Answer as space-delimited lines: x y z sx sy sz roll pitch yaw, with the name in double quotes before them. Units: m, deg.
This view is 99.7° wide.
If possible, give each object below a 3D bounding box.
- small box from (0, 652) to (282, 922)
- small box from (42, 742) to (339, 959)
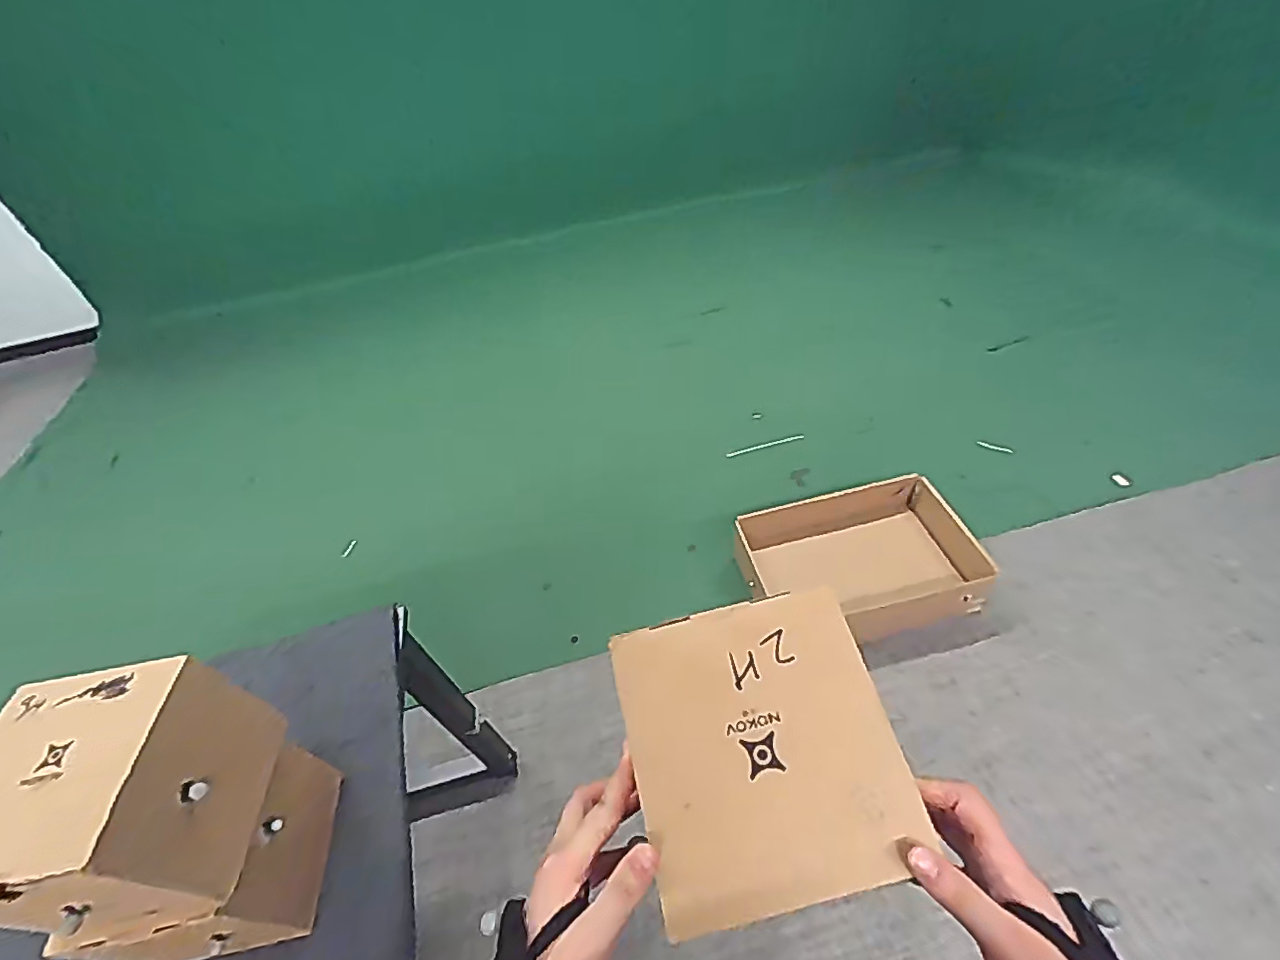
"small box" -0.478 0.288 0.502 0.168 0.176 0.179 -10 47 0
"small box" -0.473 0.413 0.611 0.168 0.176 0.179 -12 45 -3
